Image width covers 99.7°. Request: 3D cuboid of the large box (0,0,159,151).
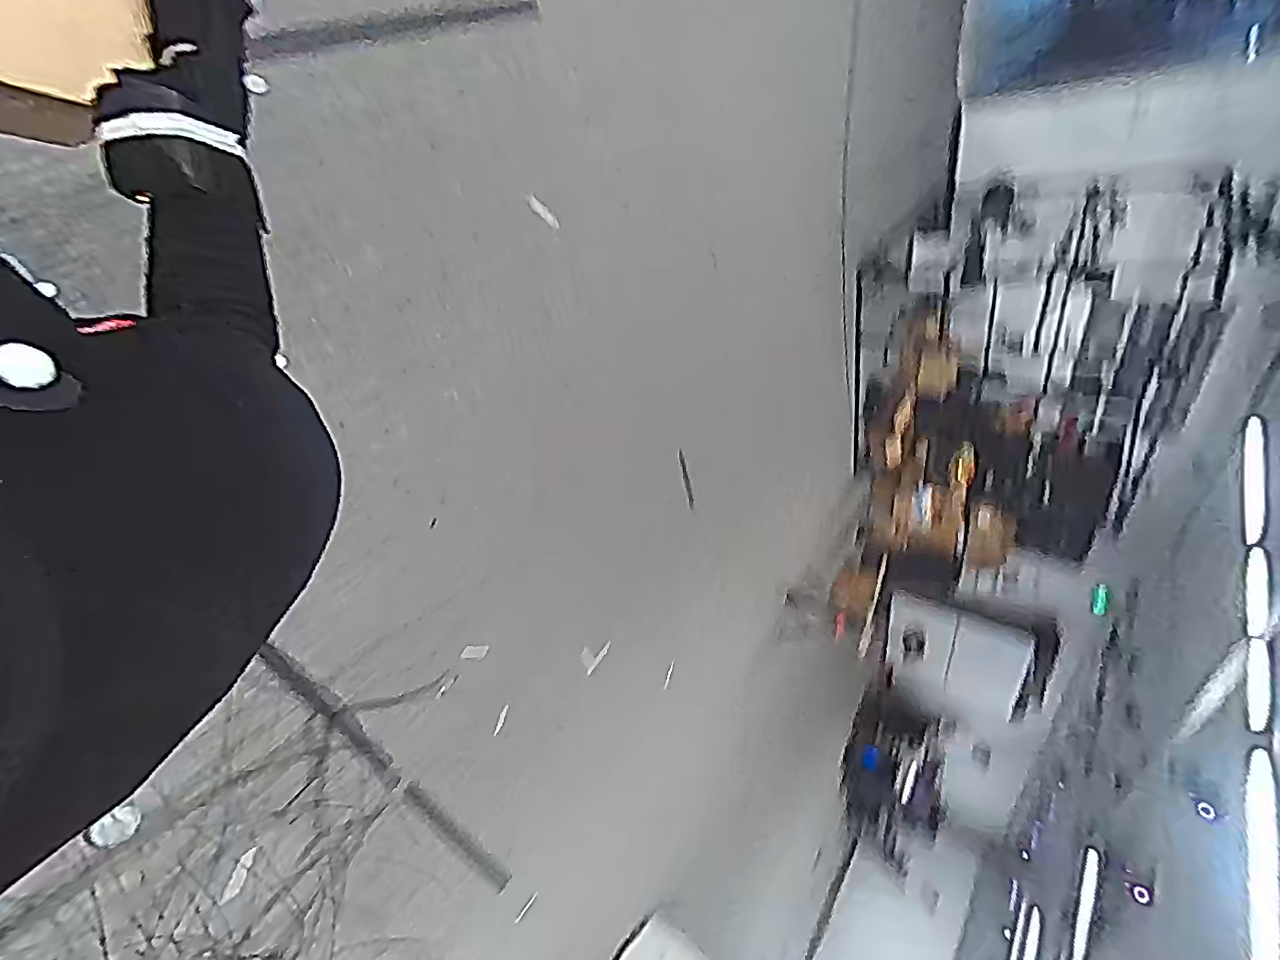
[{"bbox_3d":[-0.568,-0.405,0.275,0.408,0.320,0.320,-15,119,-53],"label":"large box"}]
